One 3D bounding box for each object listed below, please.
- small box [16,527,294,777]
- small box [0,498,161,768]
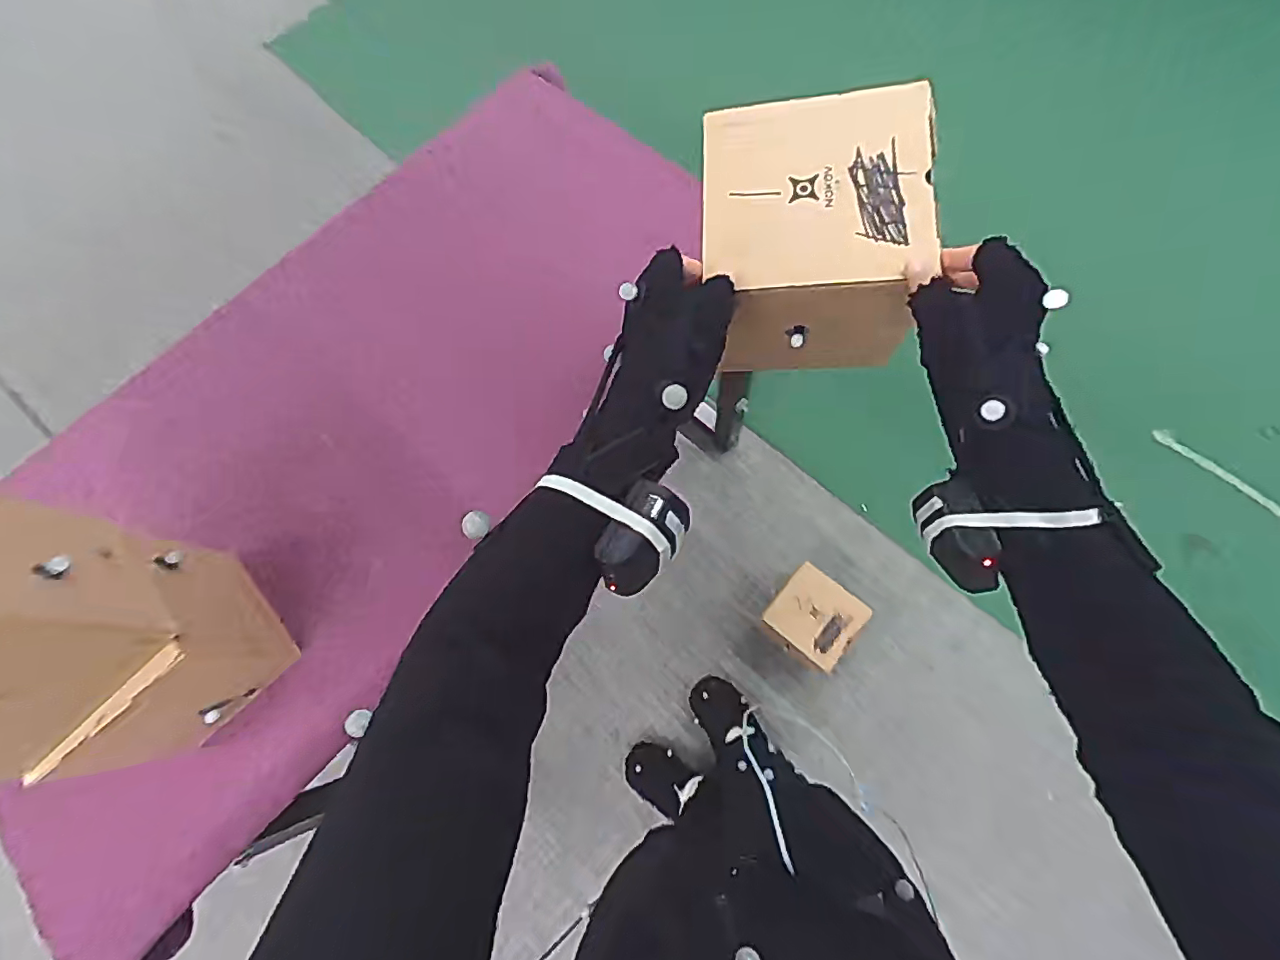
[{"bbox_3d":[-0.538,0.183,0.595,0.168,0.176,0.179,-42,74,-9],"label":"small box"},{"bbox_3d":[-0.555,0.123,0.444,0.168,0.176,0.179,41,80,15],"label":"small box"}]
